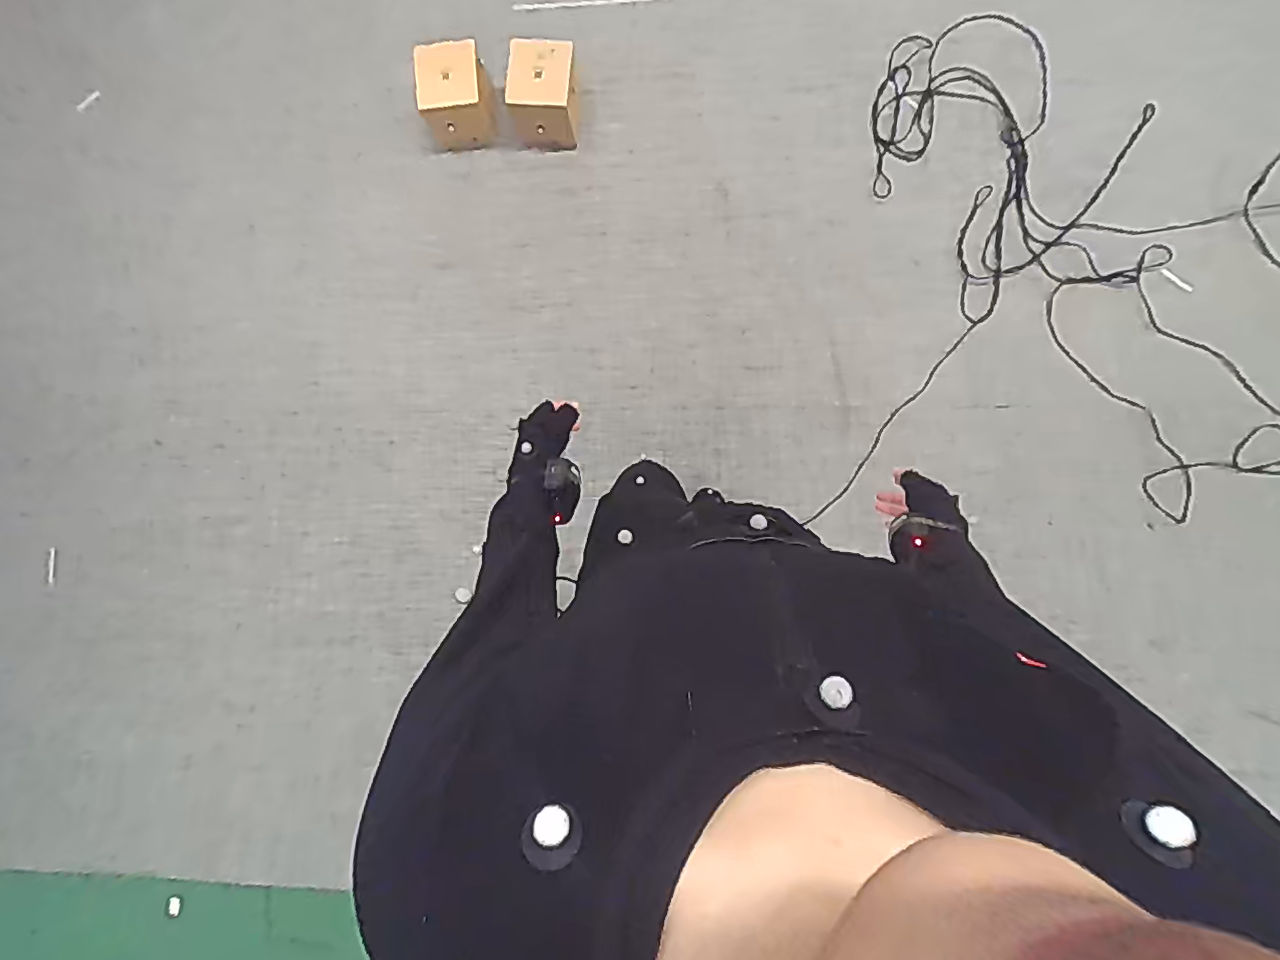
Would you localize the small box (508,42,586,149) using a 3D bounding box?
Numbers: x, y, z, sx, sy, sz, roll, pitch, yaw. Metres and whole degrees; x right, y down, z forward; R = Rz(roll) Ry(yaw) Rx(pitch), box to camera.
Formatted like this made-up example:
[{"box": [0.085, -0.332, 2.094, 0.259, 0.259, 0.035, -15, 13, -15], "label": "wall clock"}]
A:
[{"box": [-0.245, -1.037, 1.471, 0.168, 0.176, 0.179, 6, 88, 4], "label": "small box"}]

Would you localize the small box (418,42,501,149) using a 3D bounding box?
[{"box": [-0.490, -1.046, 1.490, 0.168, 0.176, 0.179, -5, 87, 4], "label": "small box"}]
